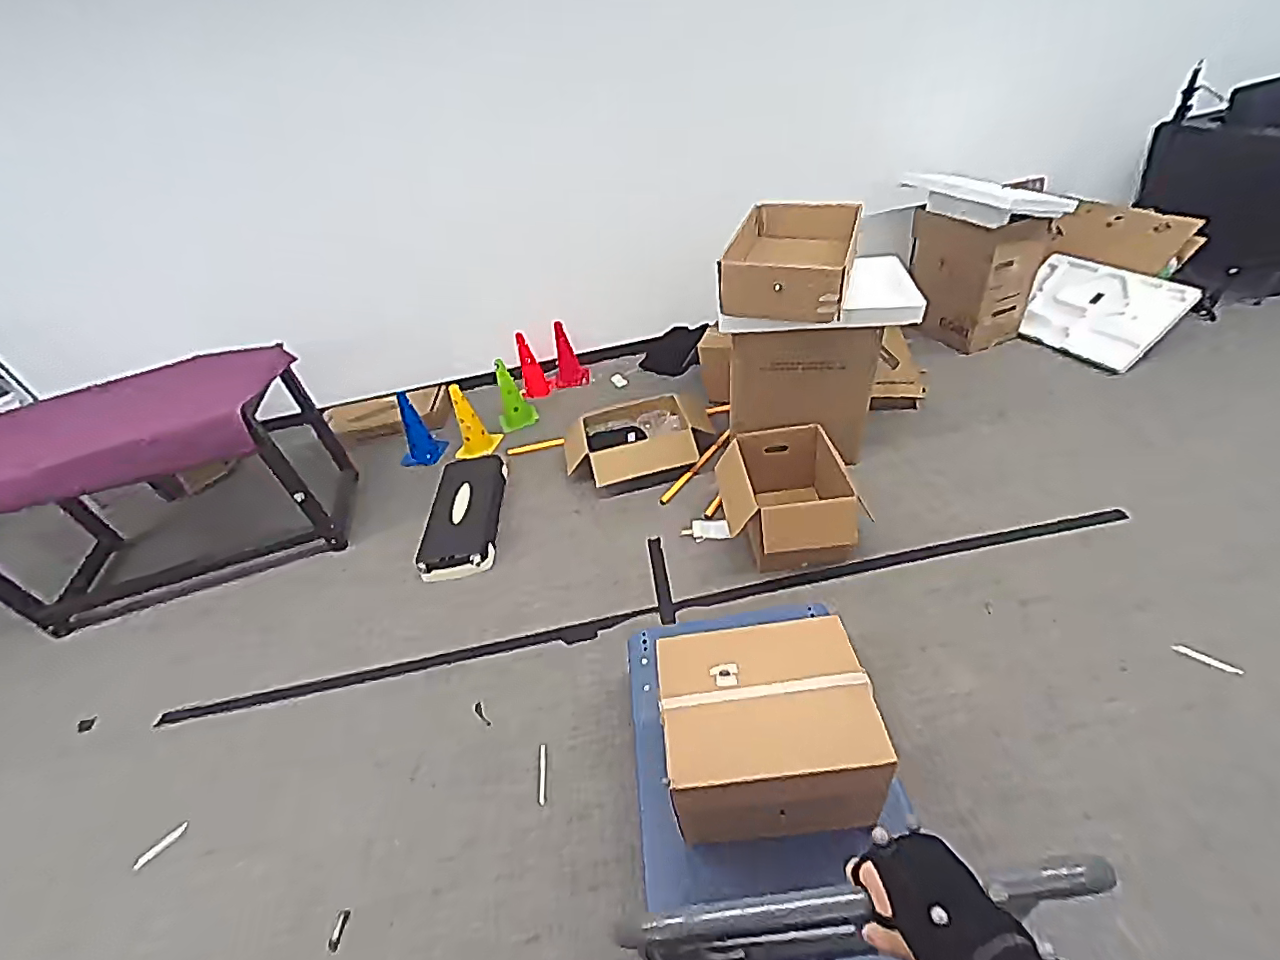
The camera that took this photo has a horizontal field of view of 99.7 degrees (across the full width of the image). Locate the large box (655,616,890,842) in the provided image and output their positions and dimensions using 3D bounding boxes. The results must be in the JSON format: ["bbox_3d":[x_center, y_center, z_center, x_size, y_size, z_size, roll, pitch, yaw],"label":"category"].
[{"bbox_3d":[0.266,0.542,1.175,0.408,0.320,0.320,-10,38,3],"label":"large box"}]
